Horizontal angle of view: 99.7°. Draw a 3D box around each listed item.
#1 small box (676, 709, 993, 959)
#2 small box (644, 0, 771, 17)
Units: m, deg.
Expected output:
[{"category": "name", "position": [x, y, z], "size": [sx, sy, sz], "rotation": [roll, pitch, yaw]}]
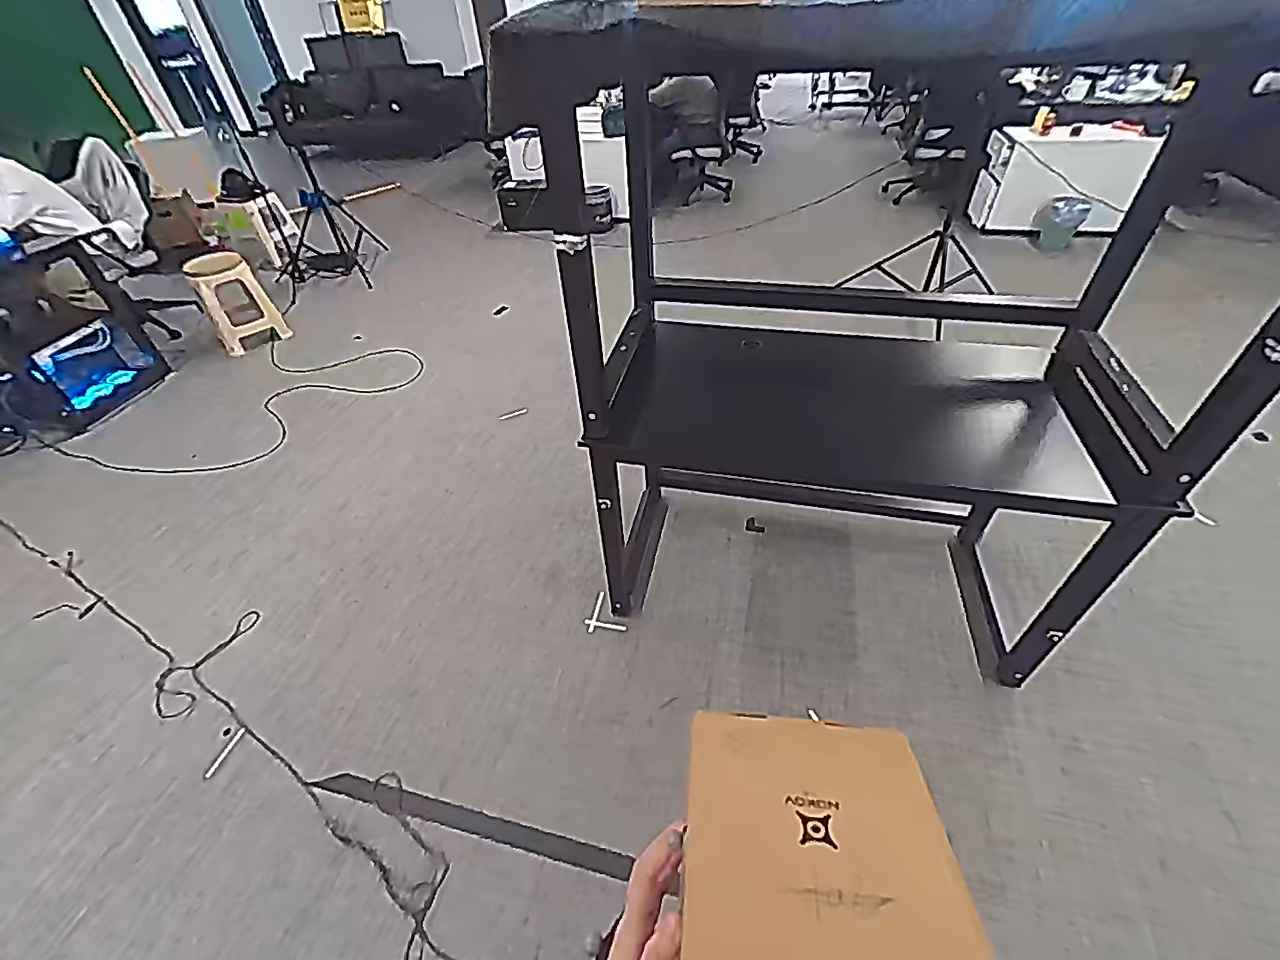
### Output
[{"category": "small box", "position": [0.111, 0.298, 0.381], "size": [0.168, 0.176, 0.179], "rotation": [3, 24, 6]}, {"category": "small box", "position": [0.098, -0.728, 0.713], "size": [0.168, 0.176, 0.179], "rotation": [9, 42, 11]}]
